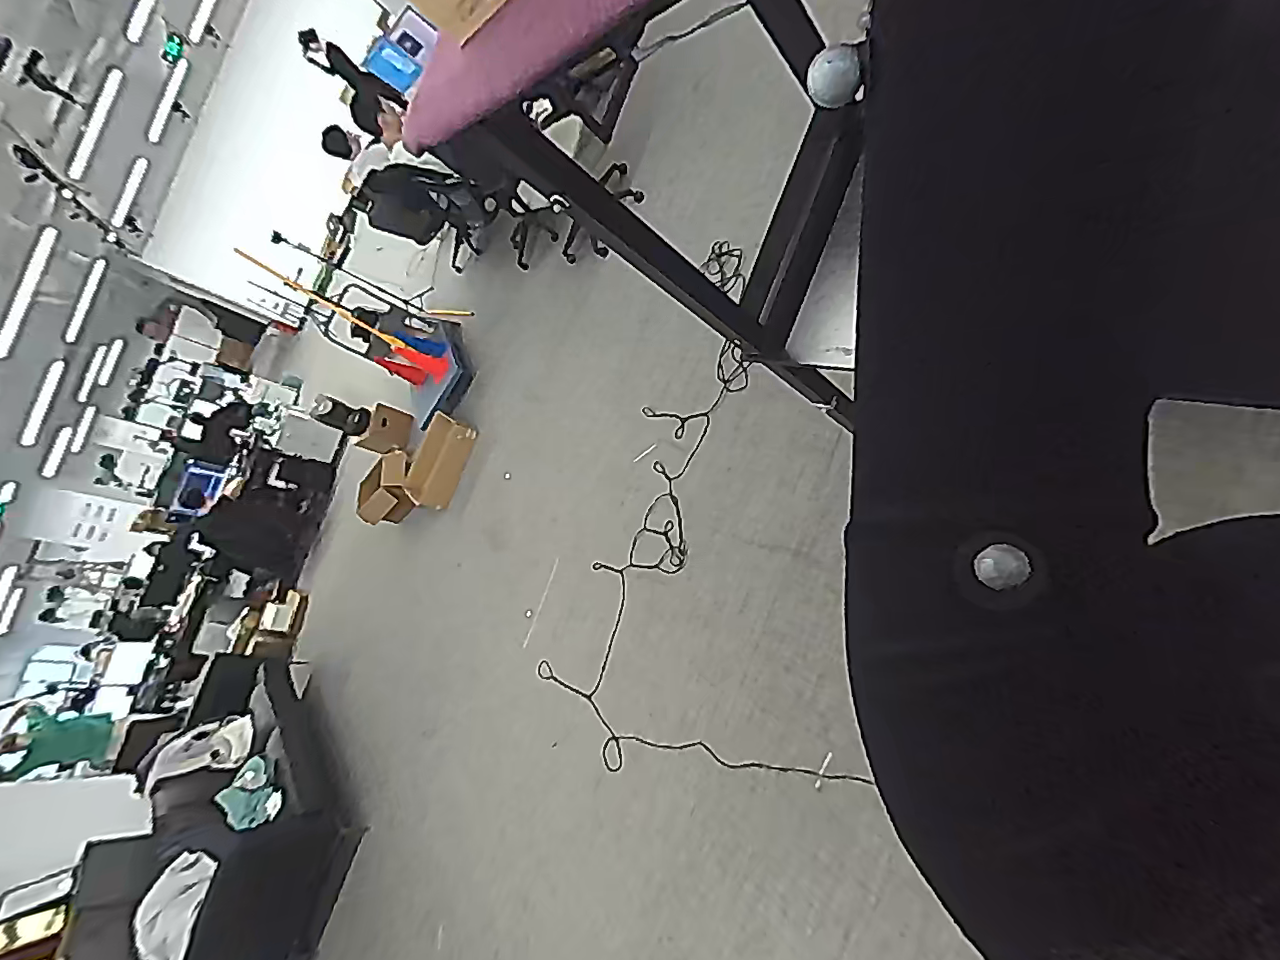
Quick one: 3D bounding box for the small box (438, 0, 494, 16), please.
[{"bbox_3d":[-0.167,-0.577,0.487,0.168,0.176,0.179,19,87,47],"label":"small box"}]
